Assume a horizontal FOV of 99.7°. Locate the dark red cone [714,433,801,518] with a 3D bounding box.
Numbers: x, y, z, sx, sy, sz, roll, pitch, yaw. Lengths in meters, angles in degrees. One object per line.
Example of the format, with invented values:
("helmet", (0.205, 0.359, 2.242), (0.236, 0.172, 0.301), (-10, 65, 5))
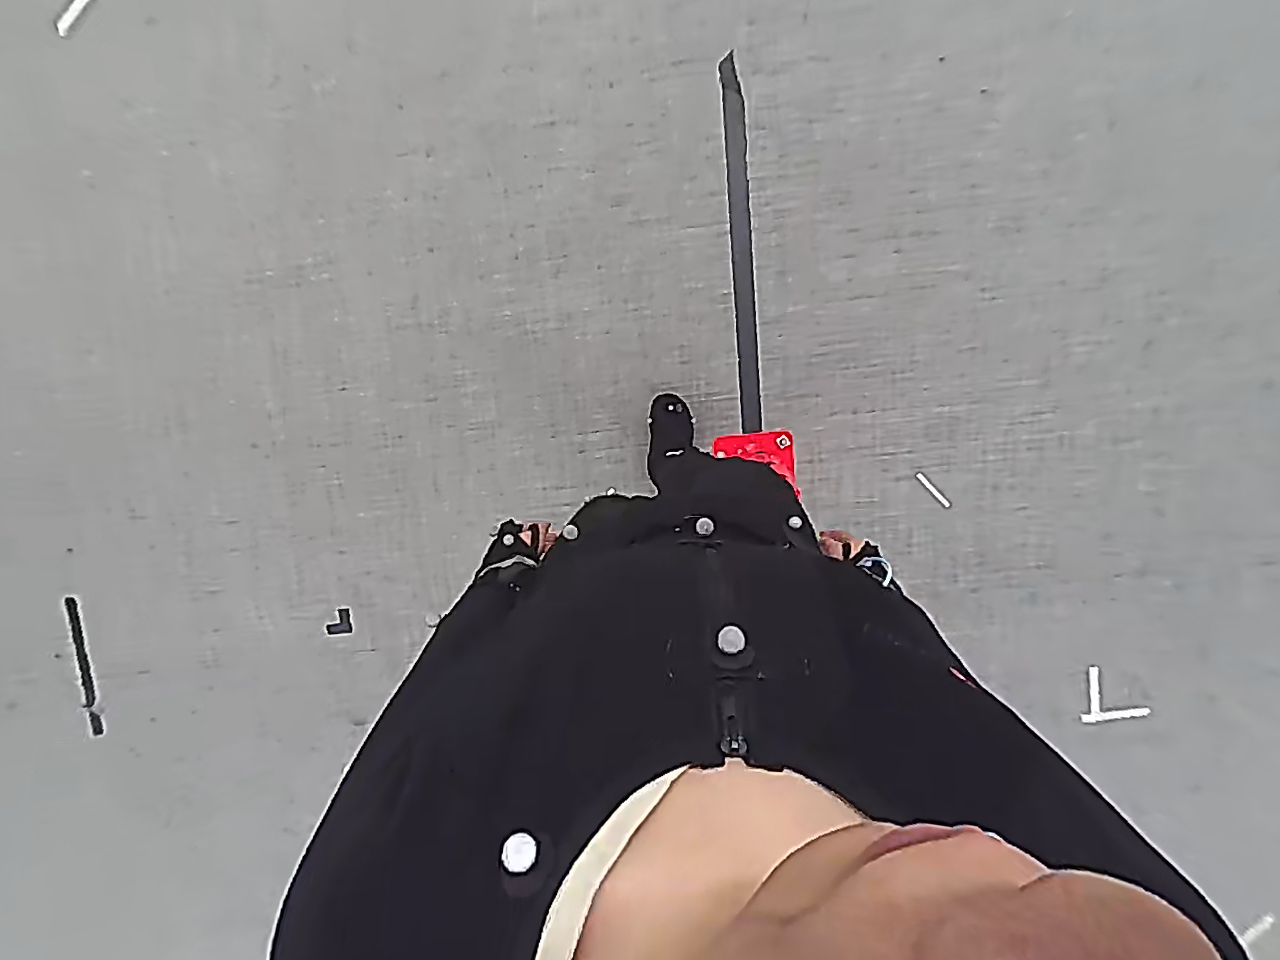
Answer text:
("dark red cone", (0.281, 0.013, 1.167), (0.201, 0.394, 0.202), (-6, 98, 3))
